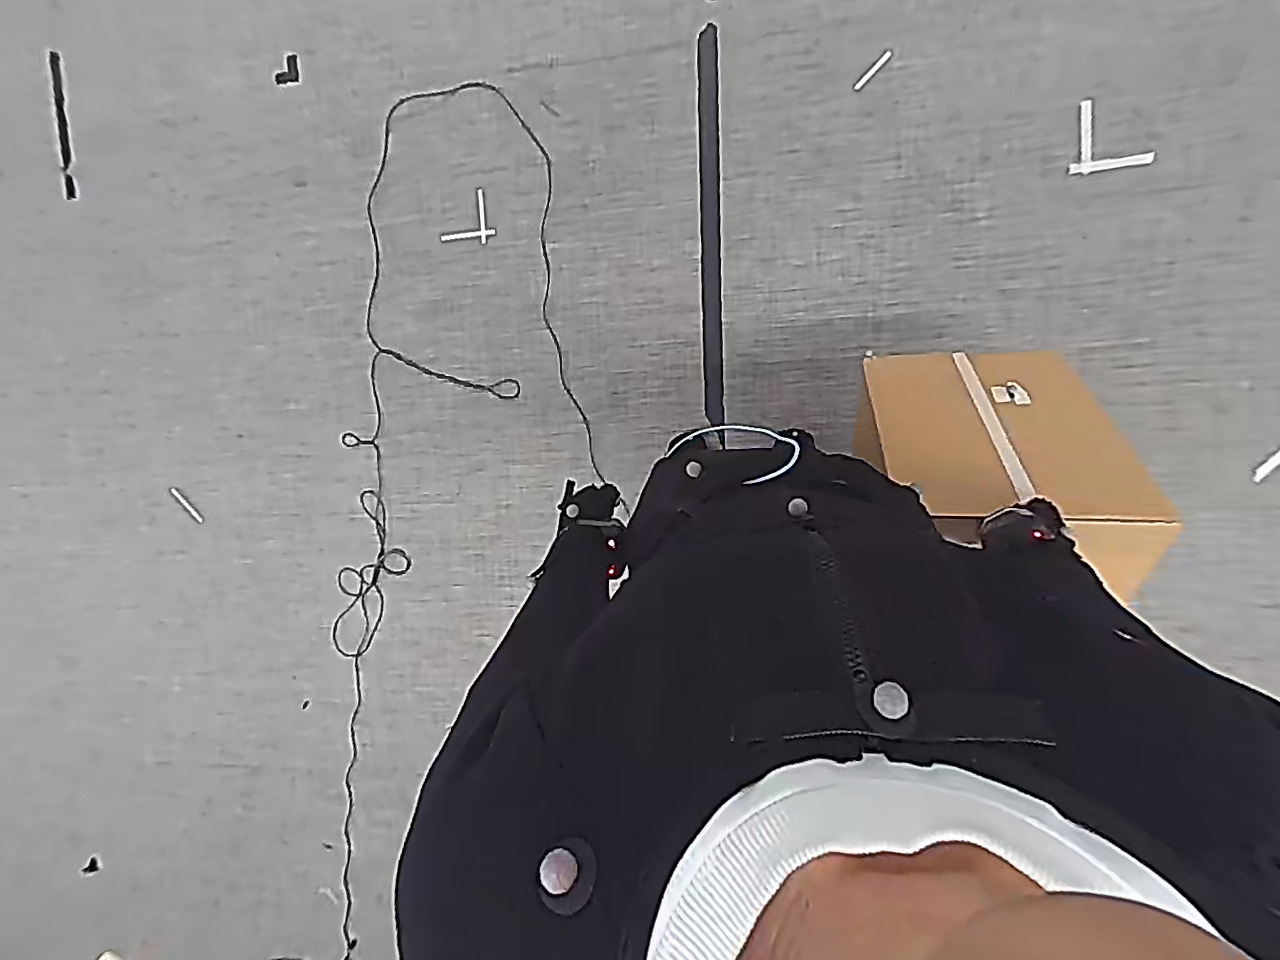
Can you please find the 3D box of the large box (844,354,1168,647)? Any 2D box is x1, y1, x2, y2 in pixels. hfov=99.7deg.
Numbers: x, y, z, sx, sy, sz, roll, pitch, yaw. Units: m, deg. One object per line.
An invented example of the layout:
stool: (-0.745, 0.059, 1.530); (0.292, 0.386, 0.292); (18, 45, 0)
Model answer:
large box: (0.545, 0.027, 0.923); (0.320, 0.408, 0.320); (1, 132, 12)
